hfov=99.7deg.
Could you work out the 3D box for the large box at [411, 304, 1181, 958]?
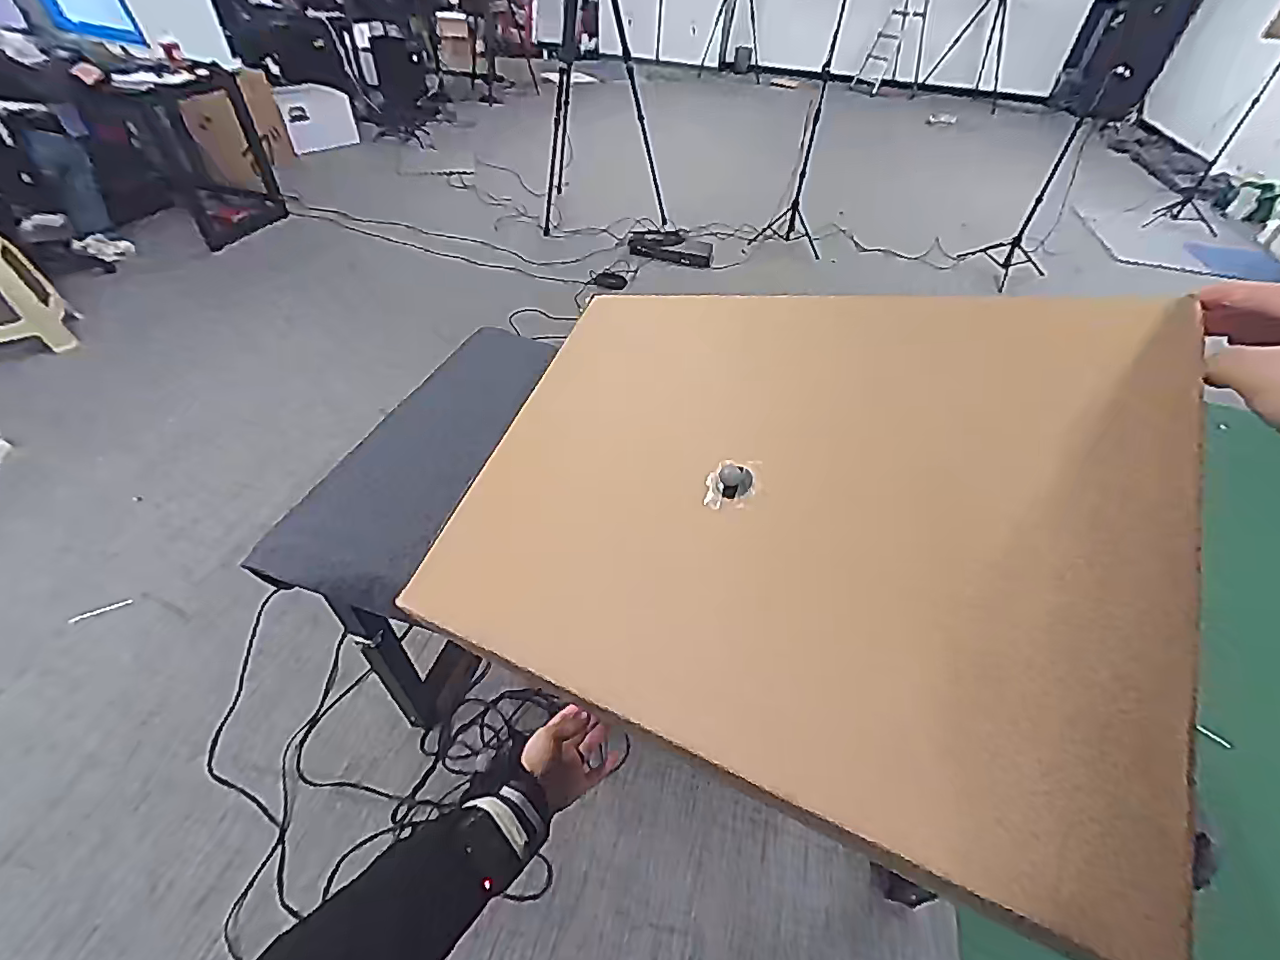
[{"bbox_3d":[0.115,0.081,0.447,0.408,0.320,0.320,11,63,30],"label":"large box"}]
